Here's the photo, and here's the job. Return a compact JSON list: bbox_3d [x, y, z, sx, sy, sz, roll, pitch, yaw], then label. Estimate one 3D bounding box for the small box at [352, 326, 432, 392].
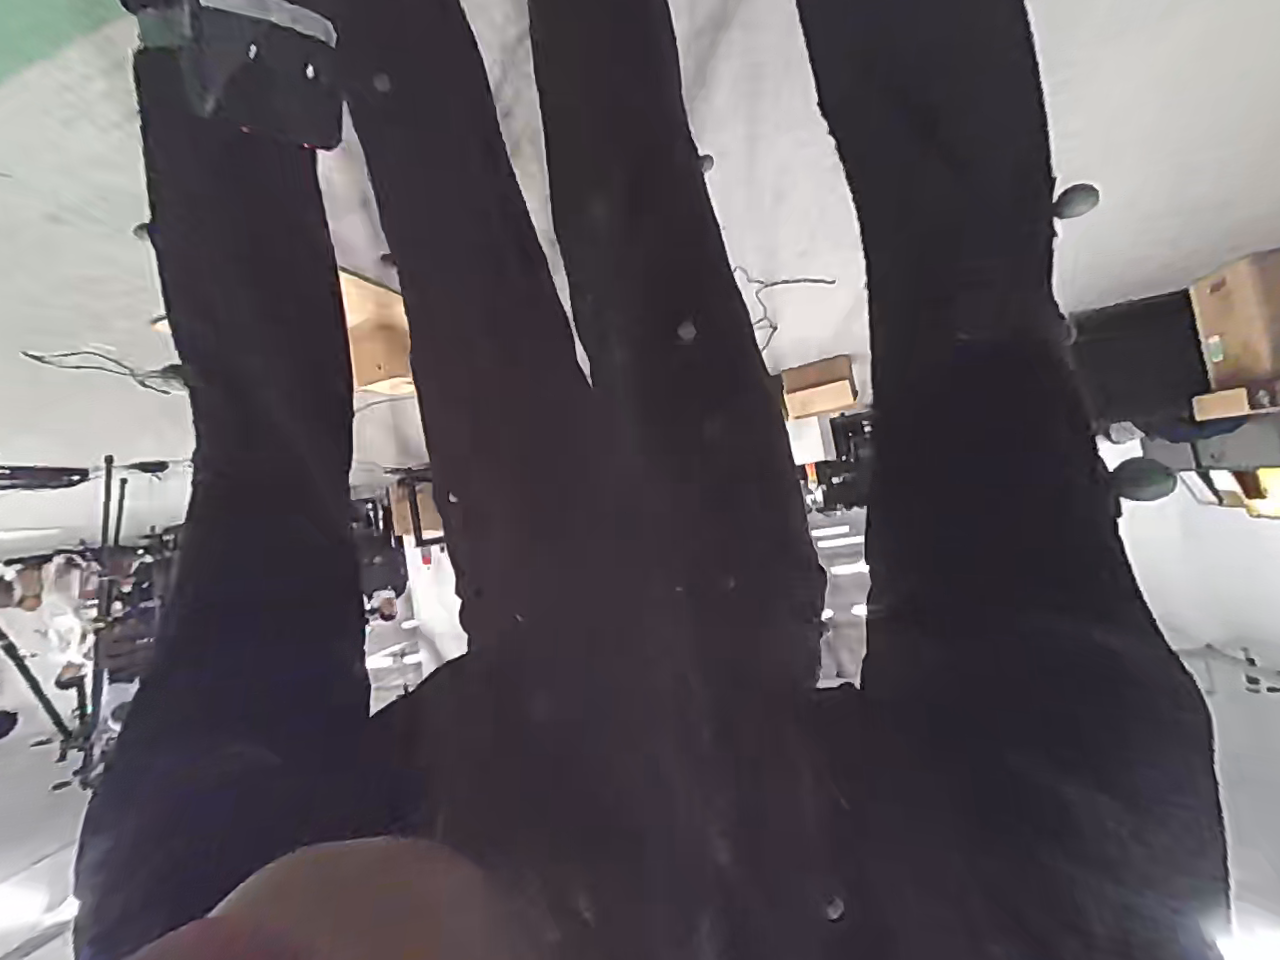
[{"bbox_3d":[-0.830,-0.402,1.806,0.179,0.176,0.168,-10,178,19],"label":"small box"}]
